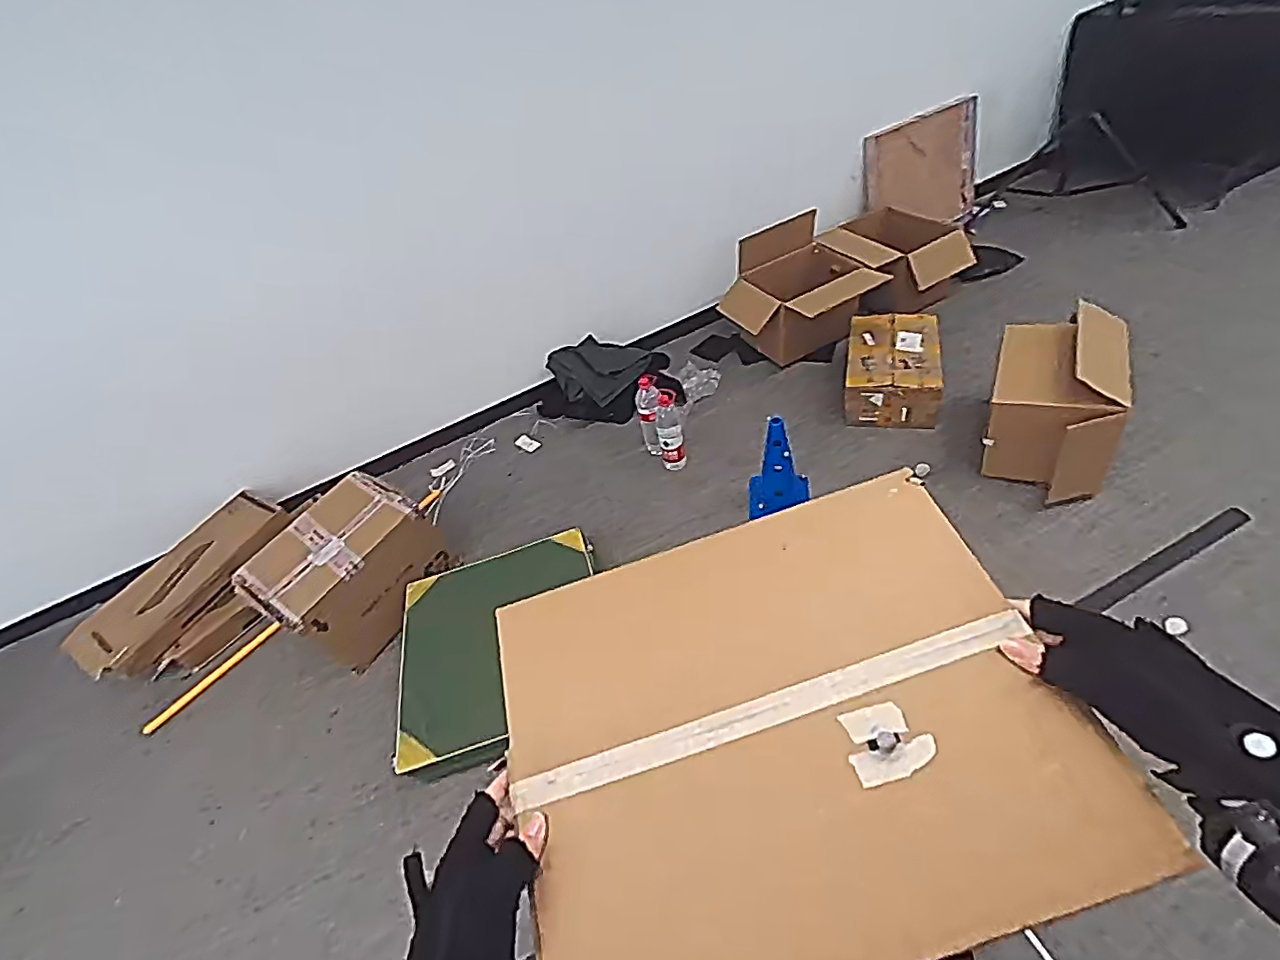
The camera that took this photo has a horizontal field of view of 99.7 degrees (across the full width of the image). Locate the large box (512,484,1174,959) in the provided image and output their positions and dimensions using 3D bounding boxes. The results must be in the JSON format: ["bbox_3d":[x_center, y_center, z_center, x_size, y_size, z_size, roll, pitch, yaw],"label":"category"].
[{"bbox_3d":[0.133,0.269,0.538,0.408,0.320,0.320,-19,54,0],"label":"large box"}]
